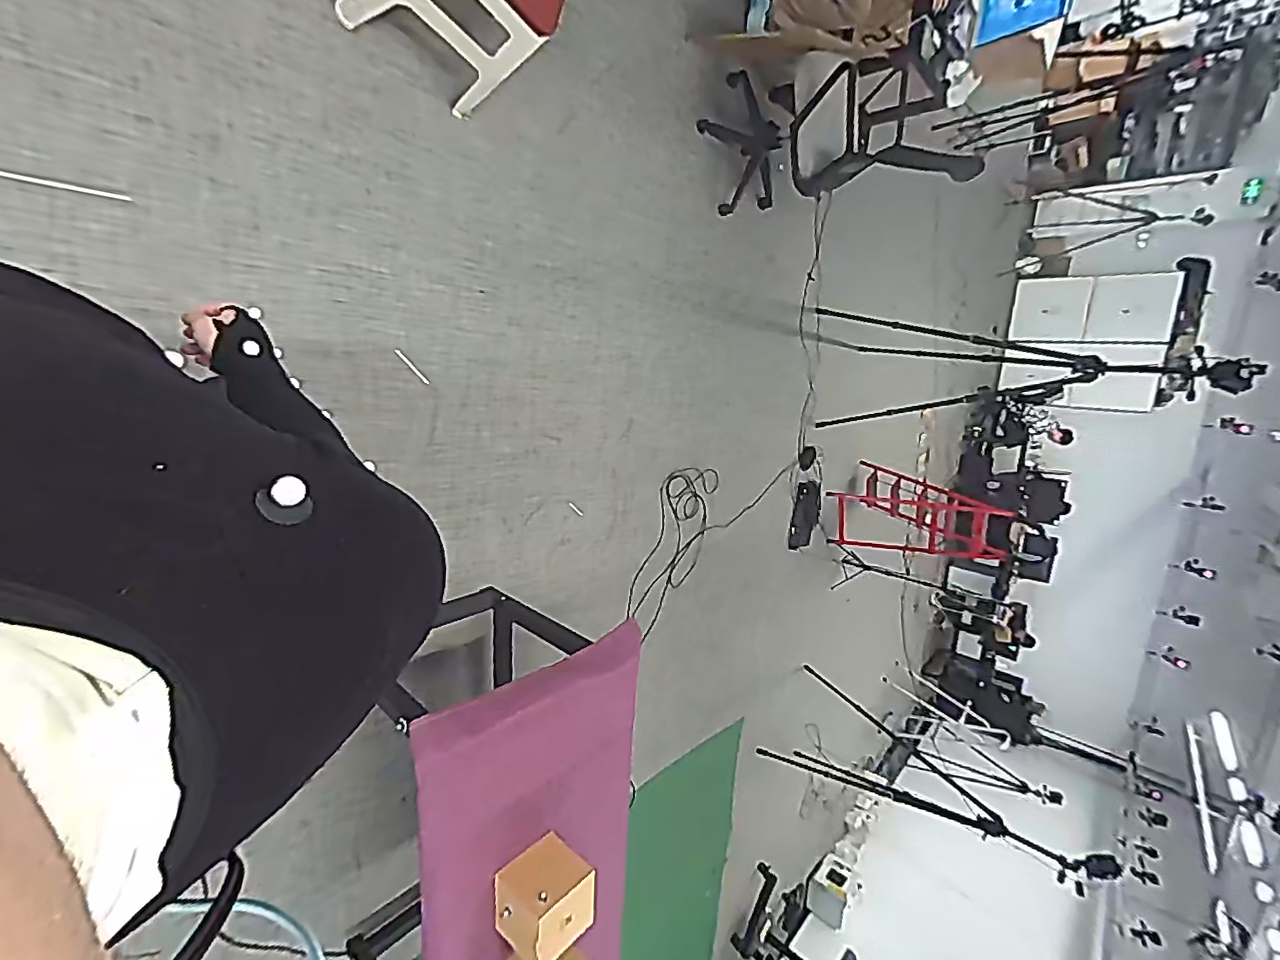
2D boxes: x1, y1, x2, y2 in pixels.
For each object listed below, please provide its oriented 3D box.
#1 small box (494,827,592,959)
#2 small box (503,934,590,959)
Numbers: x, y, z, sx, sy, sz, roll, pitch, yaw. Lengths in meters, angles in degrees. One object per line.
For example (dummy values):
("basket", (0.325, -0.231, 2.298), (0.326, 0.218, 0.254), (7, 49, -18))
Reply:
("small box", (-0.239, 1.012, 1.336), (0.179, 0.176, 0.168), (-12, 109, -46))
("small box", (-0.251, 1.293, 1.395), (0.179, 0.176, 0.168), (-8, 106, -48))
